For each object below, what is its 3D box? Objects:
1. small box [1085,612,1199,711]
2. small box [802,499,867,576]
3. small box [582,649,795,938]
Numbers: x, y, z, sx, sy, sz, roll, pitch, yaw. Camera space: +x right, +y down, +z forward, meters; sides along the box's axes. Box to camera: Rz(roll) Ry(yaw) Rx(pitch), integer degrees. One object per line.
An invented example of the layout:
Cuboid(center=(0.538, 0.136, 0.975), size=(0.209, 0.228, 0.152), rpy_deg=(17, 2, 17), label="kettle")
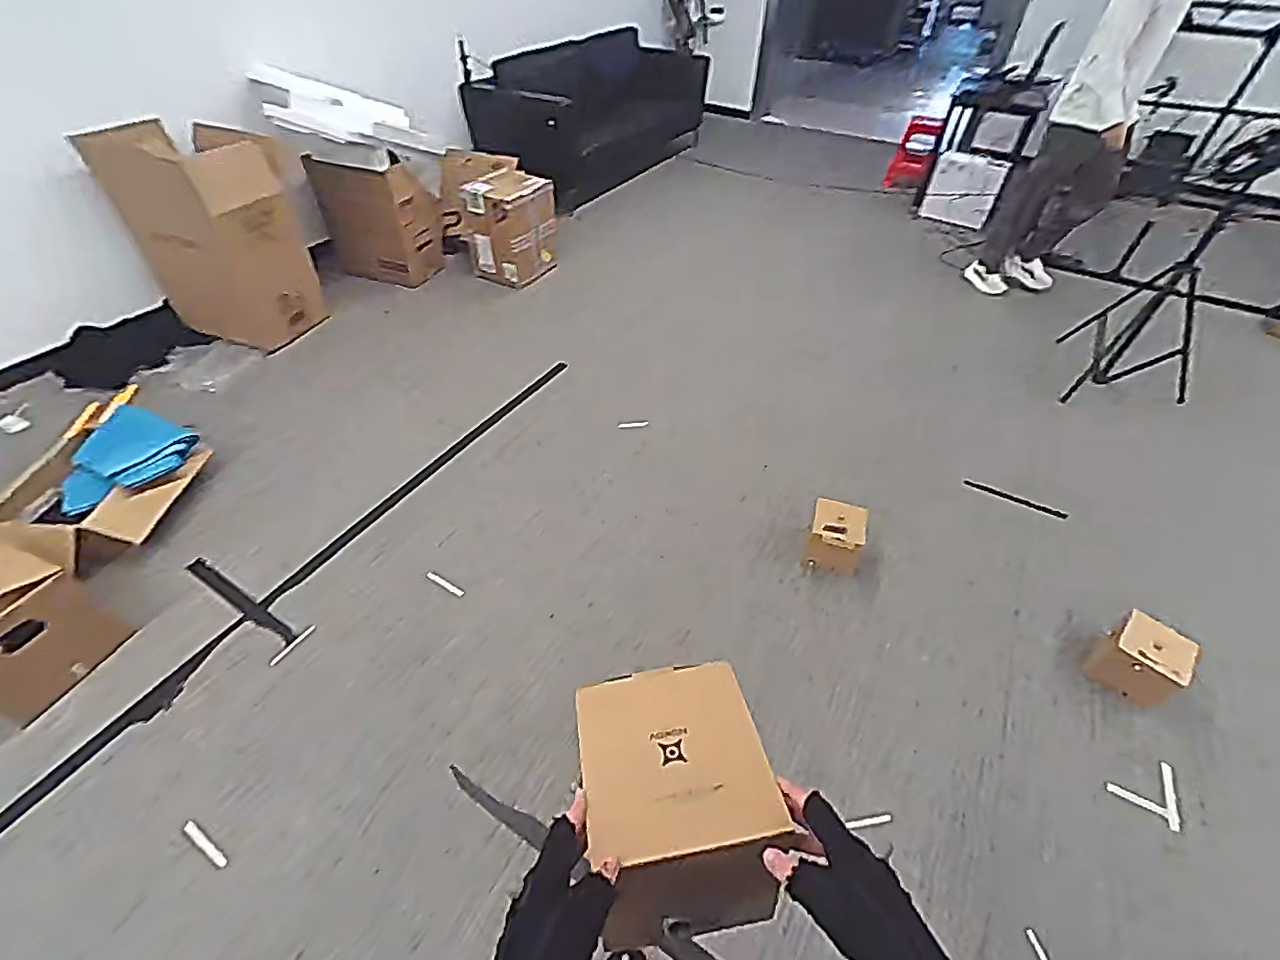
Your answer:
Cuboid(center=(1.429, 0.521, 1.549), size=(0.179, 0.176, 0.168), rpy_deg=(-34, 56, -30), label="small box")
Cuboid(center=(0.656, 0.197, 1.833), size=(0.168, 0.176, 0.179), rpy_deg=(15, 46, 12), label="small box")
Cuboid(center=(0.034, 0.301, 0.535), size=(0.168, 0.176, 0.179), rpy_deg=(-7, 32, -7), label="small box")
